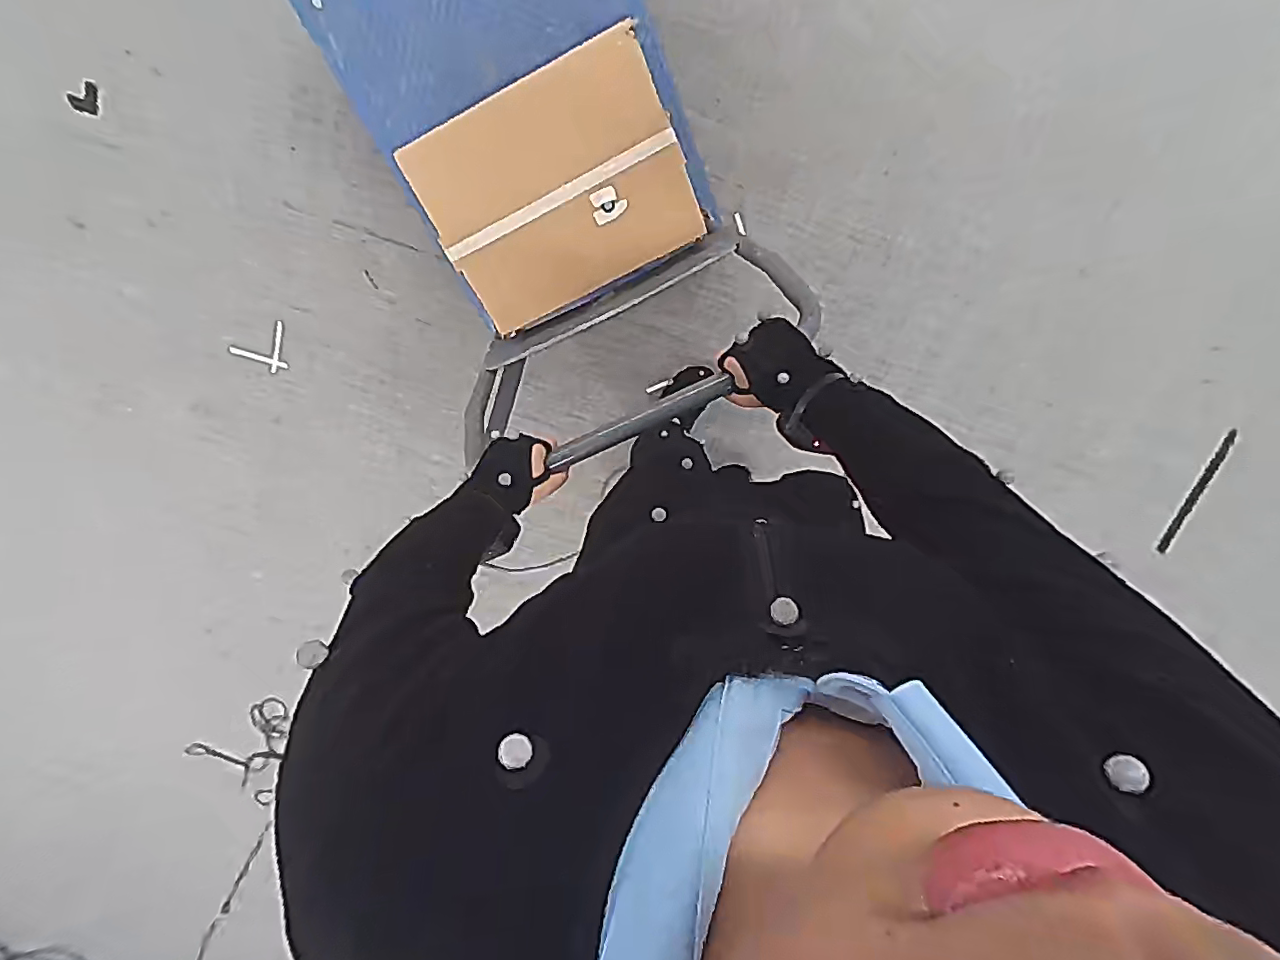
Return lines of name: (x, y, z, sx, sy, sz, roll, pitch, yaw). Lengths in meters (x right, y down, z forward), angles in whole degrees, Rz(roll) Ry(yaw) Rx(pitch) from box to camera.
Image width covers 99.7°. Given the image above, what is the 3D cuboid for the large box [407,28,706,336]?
large box: (-0.142, -0.530, 1.017, 0.408, 0.320, 0.320, -26, 119, 7)
